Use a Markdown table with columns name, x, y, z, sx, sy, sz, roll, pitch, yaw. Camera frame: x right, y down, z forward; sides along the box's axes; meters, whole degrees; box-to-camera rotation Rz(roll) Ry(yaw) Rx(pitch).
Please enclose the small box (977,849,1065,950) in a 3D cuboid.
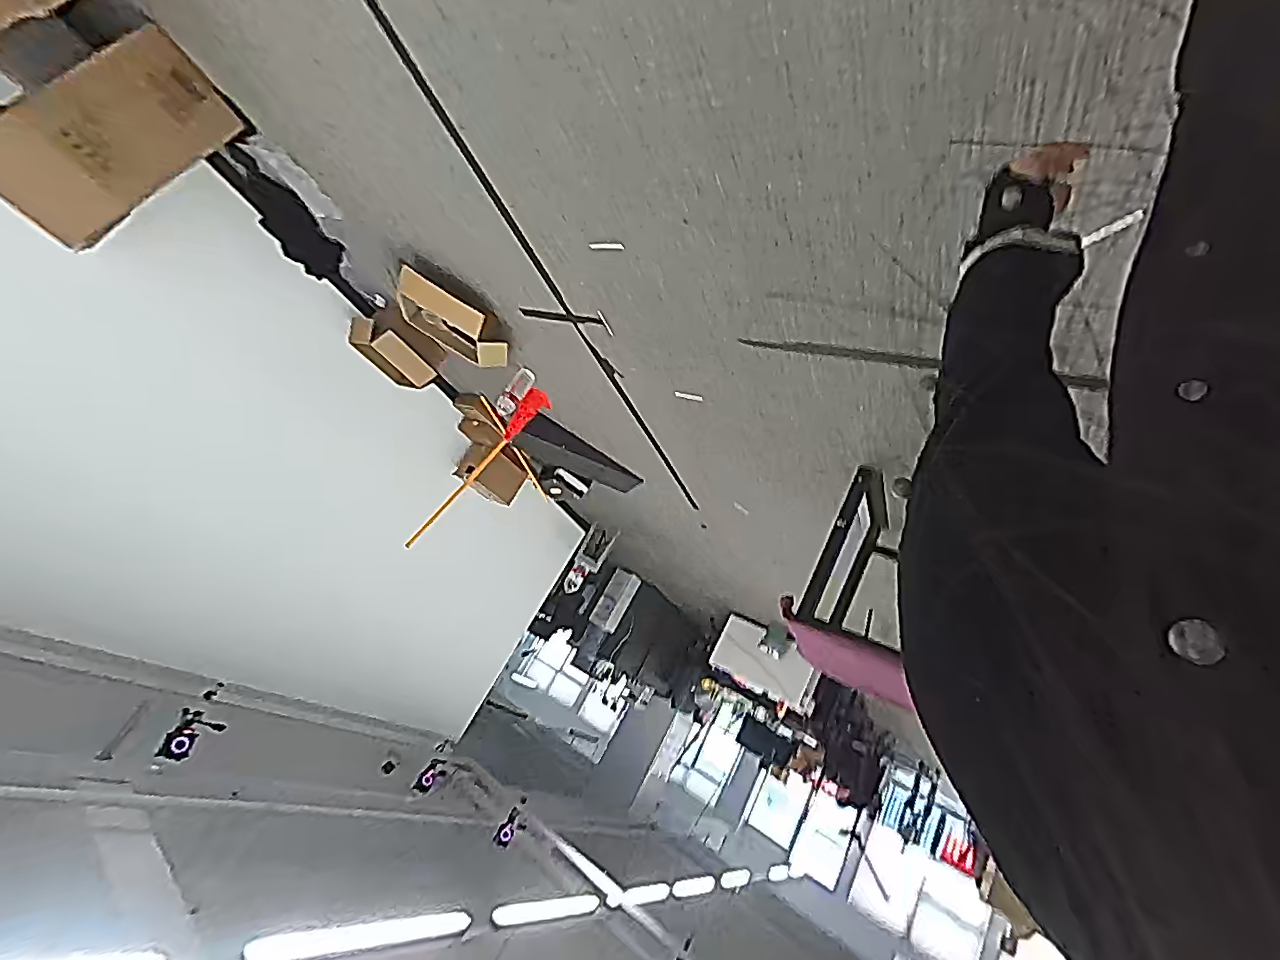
| name | x | y | z | sx | sy | sz | roll | pitch | yaw |
| --- | --- | --- | --- | --- | --- | --- | --- | --- | --- |
| small box | 1.113 | 1.215 | 1.584 | 0.168 | 0.176 | 0.179 | 18 | 157 | 33 |
